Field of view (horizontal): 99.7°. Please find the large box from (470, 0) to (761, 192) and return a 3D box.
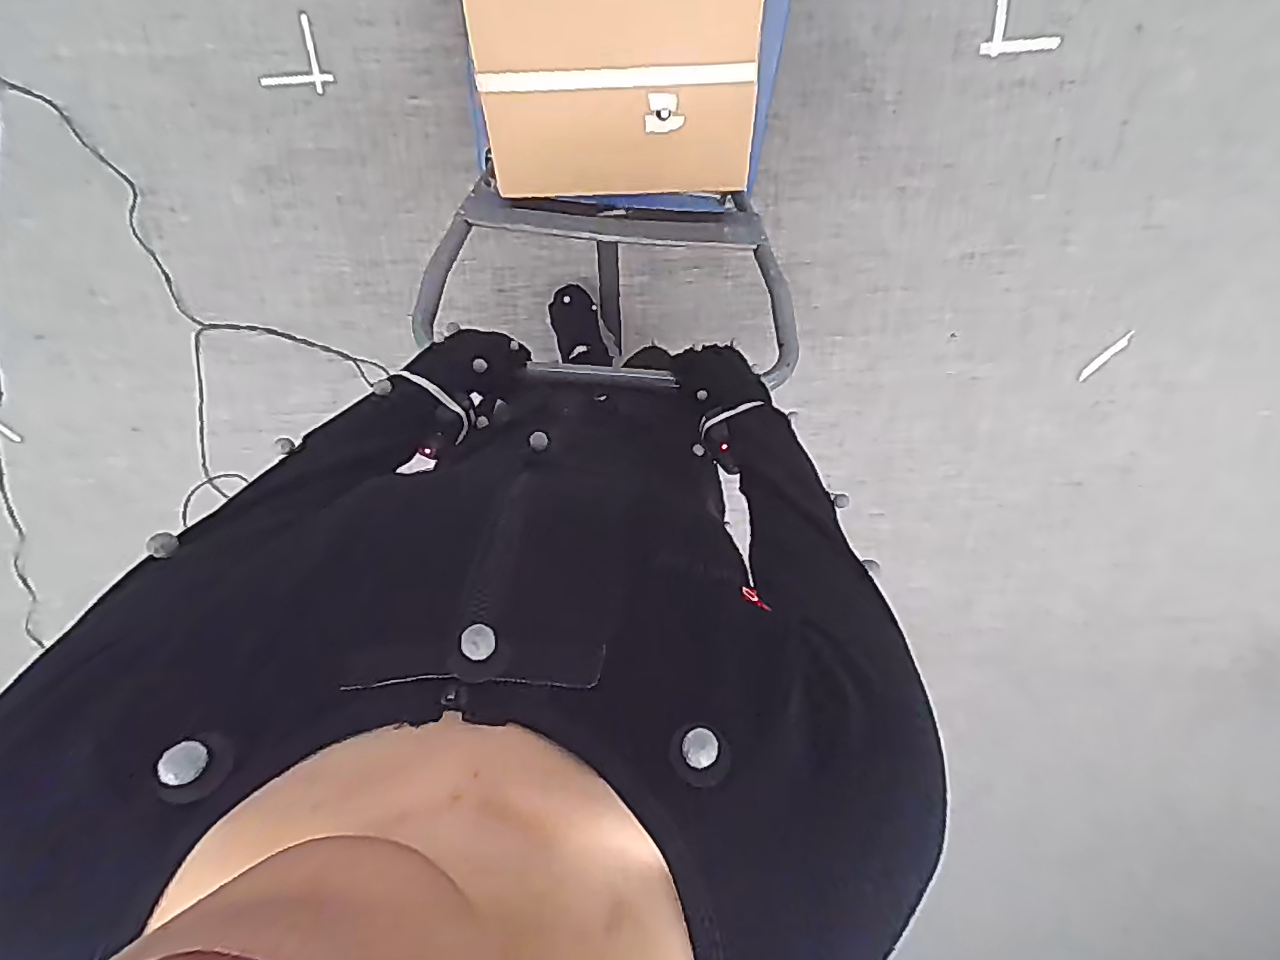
[{"bbox_3d":[-0.035,-0.700,0.897,0.408,0.320,0.320,-3,134,0],"label":"large box"}]
